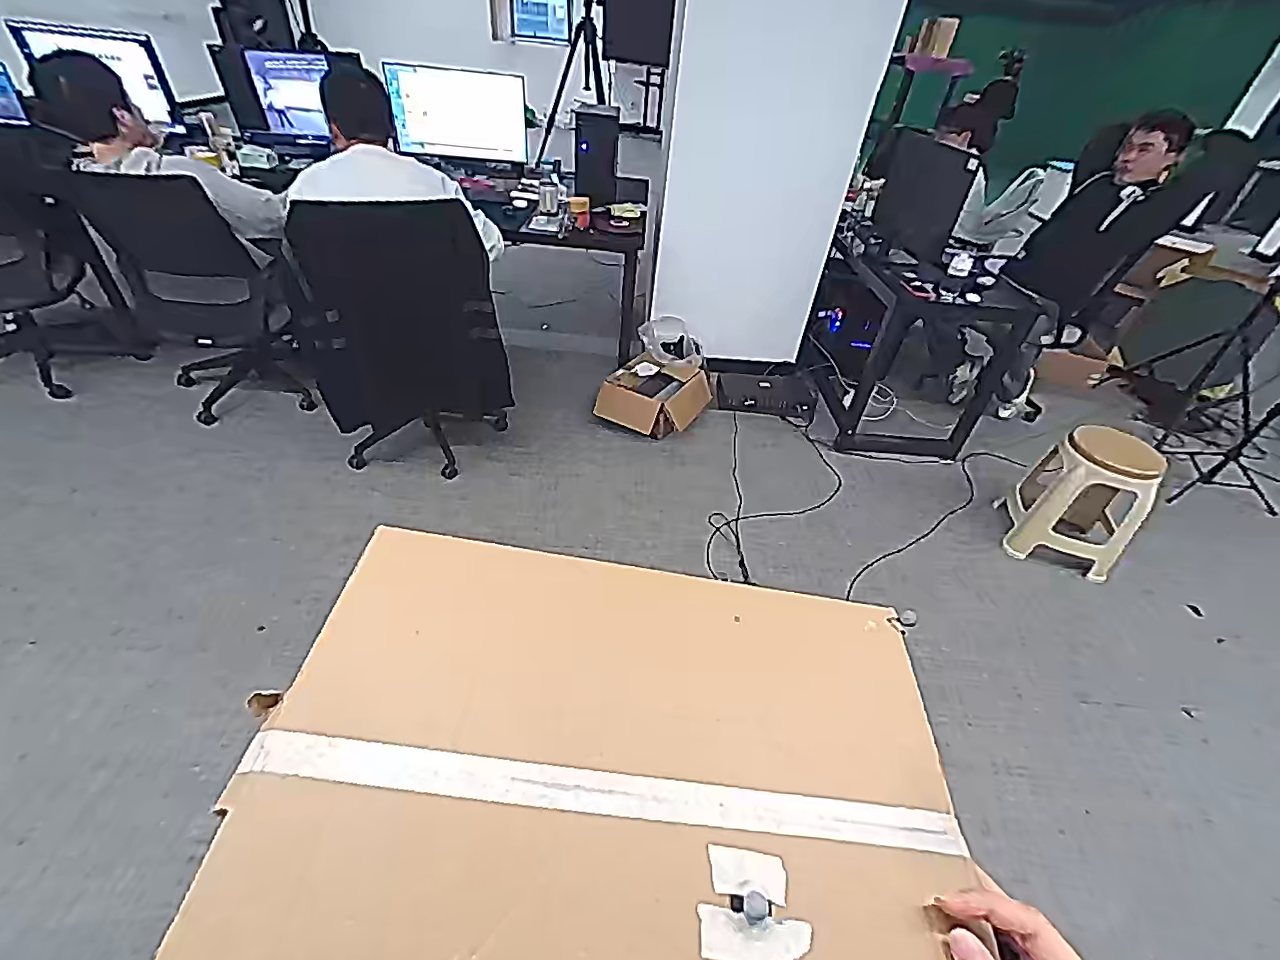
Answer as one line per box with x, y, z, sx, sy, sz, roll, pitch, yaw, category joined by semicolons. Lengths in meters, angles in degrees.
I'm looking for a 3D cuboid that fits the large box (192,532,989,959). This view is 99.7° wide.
-0.030;0.281;0.428;0.408;0.320;0.320;11;47;-5;large box
